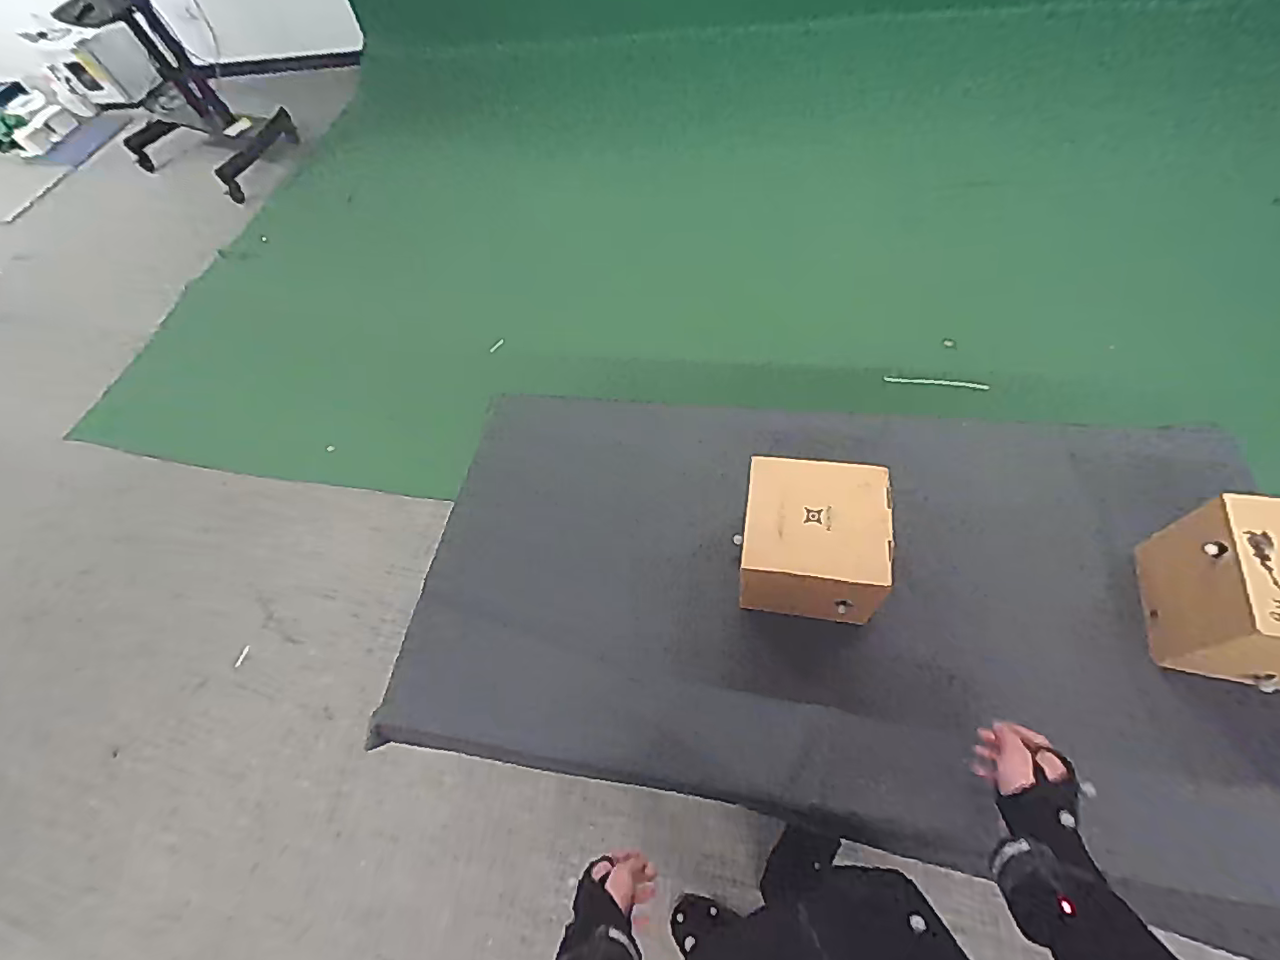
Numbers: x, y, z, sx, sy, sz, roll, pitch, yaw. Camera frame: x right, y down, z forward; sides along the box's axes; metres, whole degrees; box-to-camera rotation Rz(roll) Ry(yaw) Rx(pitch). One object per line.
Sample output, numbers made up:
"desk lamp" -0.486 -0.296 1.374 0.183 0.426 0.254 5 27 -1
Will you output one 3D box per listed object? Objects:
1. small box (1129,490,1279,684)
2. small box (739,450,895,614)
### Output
"small box" 0.737 0.133 0.636 0.179 0.176 0.168 10 64 13
"small box" 0.234 0.077 0.743 0.179 0.176 0.168 5 61 12
